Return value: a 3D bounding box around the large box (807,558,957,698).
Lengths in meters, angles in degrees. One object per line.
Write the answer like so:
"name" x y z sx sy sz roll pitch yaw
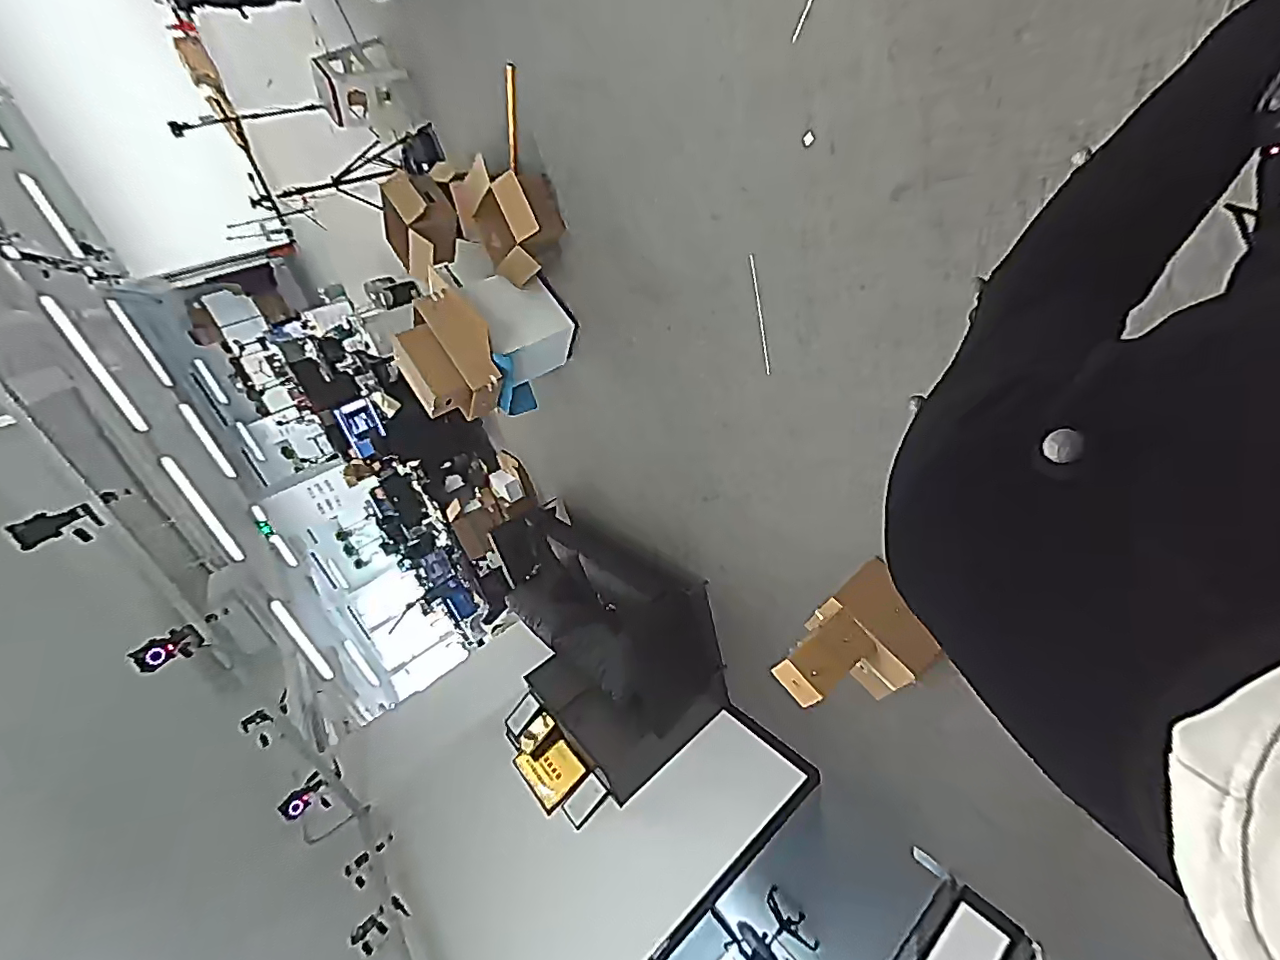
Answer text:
"large box" 0.984 0.604 2.229 0.408 0.320 0.320 45 151 23

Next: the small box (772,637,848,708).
"small box" 0.637 0.714 2.024 0.179 0.176 0.168 47 150 19
